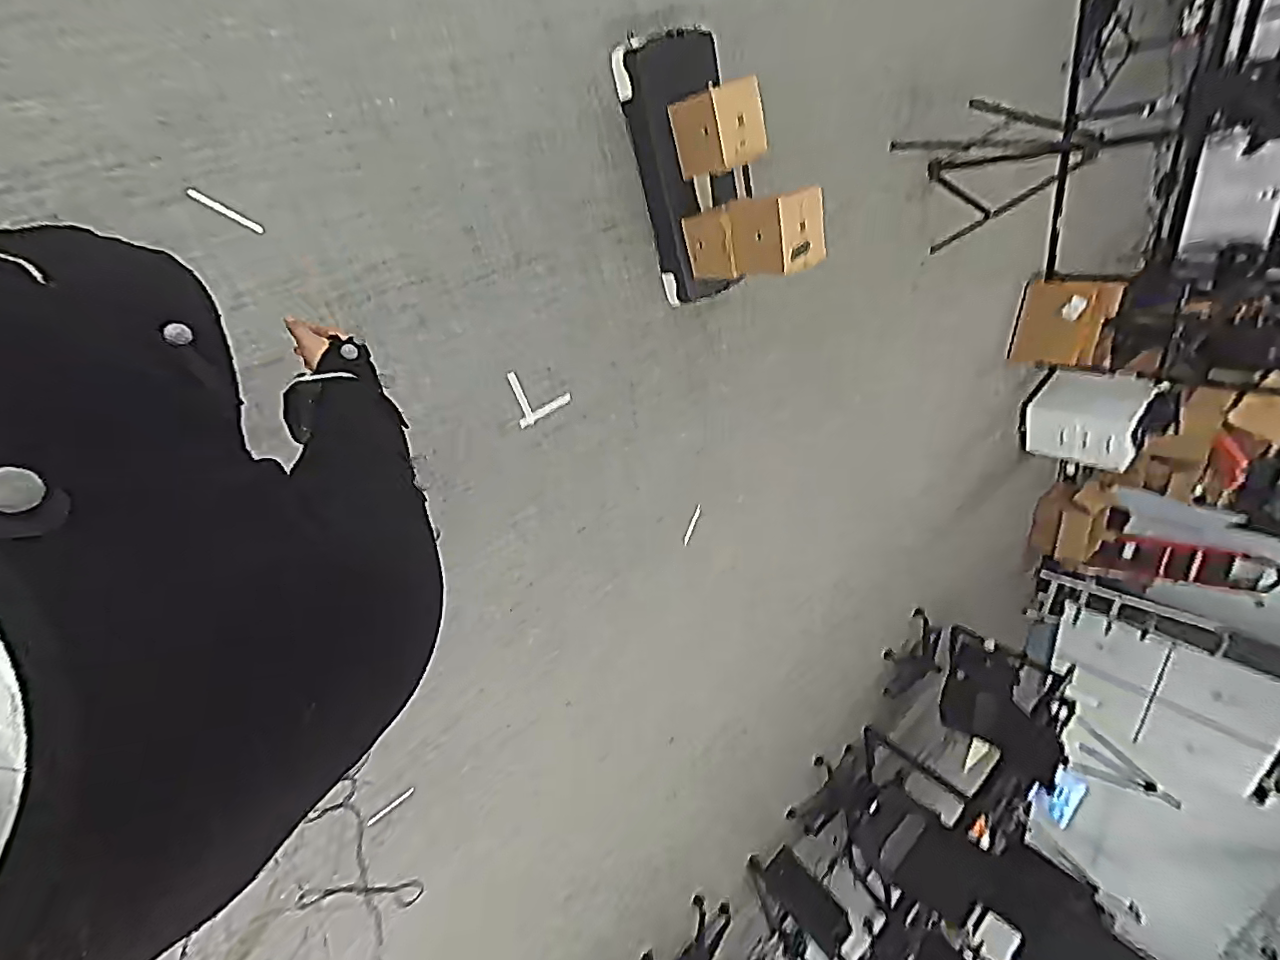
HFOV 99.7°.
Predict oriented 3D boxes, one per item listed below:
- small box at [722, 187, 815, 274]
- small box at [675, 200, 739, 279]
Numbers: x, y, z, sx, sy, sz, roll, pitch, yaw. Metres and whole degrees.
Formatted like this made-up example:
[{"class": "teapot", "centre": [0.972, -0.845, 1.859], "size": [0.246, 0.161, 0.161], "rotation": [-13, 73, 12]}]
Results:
[{"class": "small box", "centre": [0.339, -0.655, 1.428], "size": [0.168, 0.176, 0.179], "rotation": [-30, 123, -27]}, {"class": "small box", "centre": [0.230, -0.691, 1.547], "size": [0.179, 0.176, 0.168], "rotation": [-35, 126, -23]}]
